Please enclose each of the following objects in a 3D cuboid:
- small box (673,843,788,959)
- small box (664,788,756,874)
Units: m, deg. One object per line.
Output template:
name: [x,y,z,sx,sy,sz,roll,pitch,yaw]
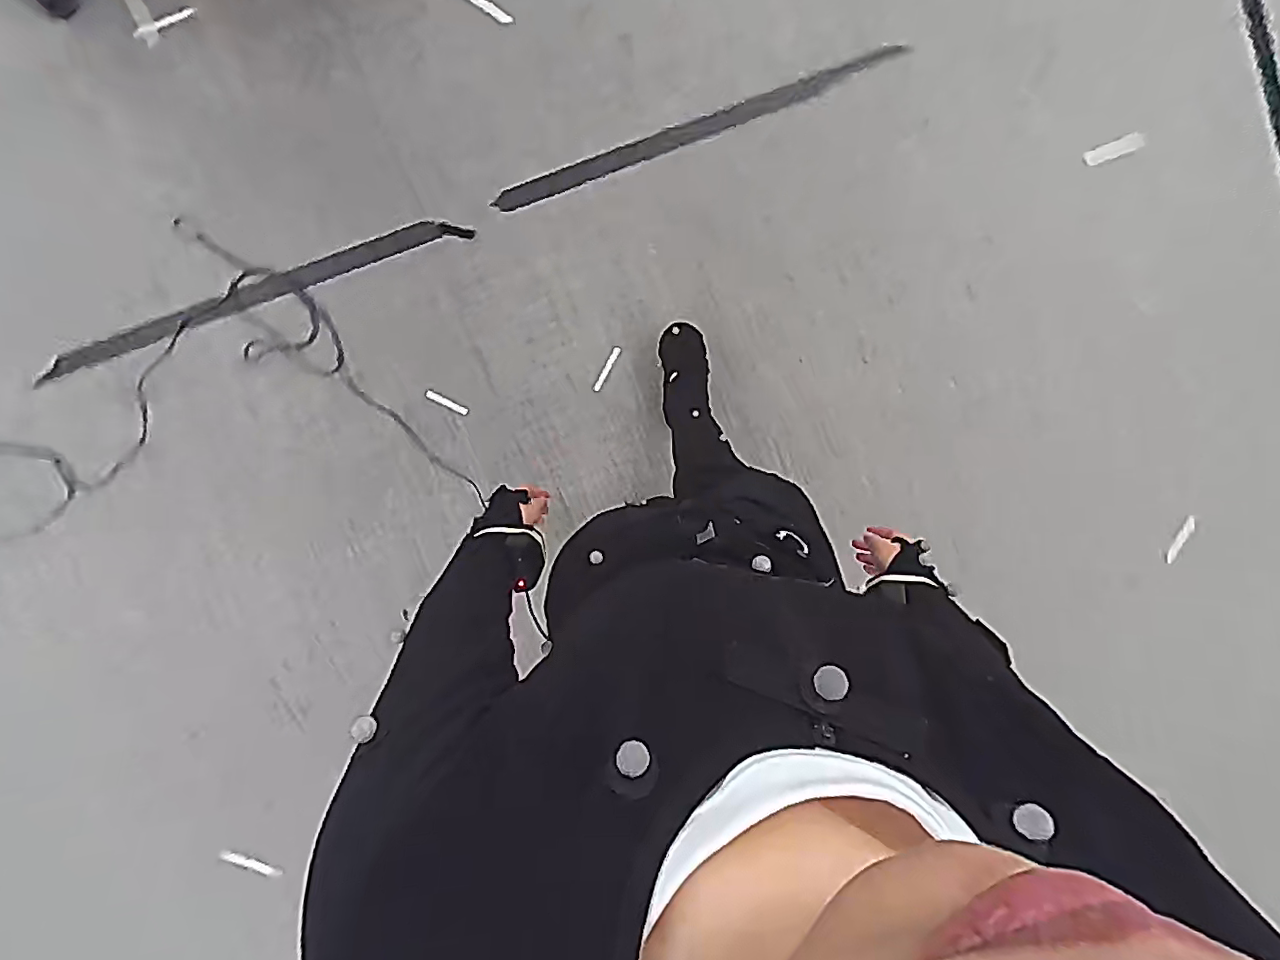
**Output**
small box: [0.172,0.839,1.014,0.168,0.176,0.179,-21,96,-1]
small box: [0.160,0.821,1.176,0.168,0.176,0.179,-20,96,-2]
